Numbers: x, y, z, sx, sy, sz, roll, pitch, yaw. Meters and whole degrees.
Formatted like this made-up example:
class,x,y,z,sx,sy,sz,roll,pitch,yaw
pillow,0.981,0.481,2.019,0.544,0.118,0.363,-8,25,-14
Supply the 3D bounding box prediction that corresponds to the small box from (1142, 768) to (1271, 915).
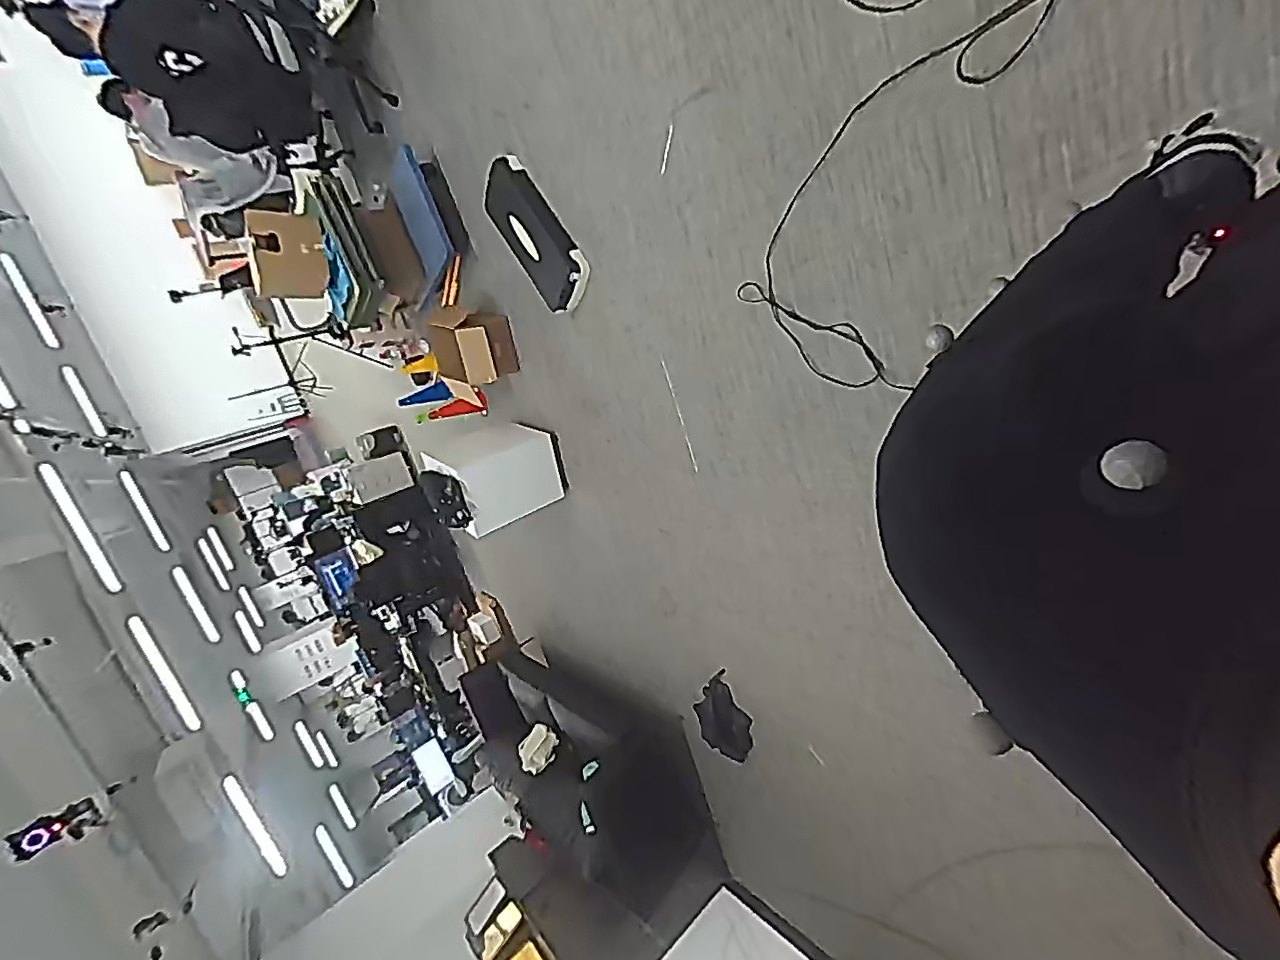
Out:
class,x,y,z,sx,sy,sz,roll,pitch,yaw
small box,1.247,0.777,1.188,0.179,0.176,0.168,0,112,55
